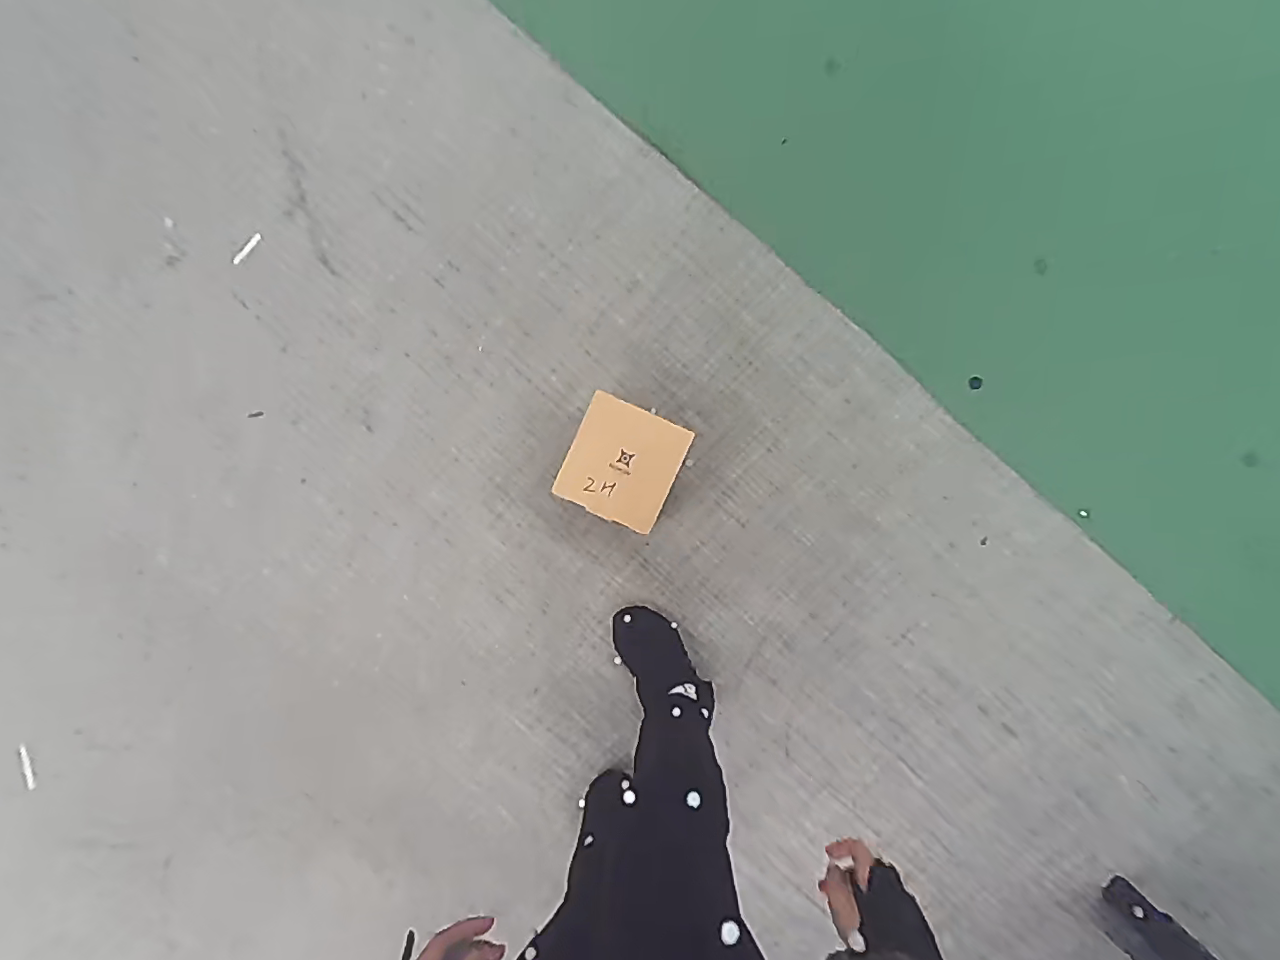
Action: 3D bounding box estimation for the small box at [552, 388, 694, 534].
[{"bbox_3d":[-0.025,-0.032,0.900,0.168,0.176,0.179,25,93,2],"label":"small box"}]
